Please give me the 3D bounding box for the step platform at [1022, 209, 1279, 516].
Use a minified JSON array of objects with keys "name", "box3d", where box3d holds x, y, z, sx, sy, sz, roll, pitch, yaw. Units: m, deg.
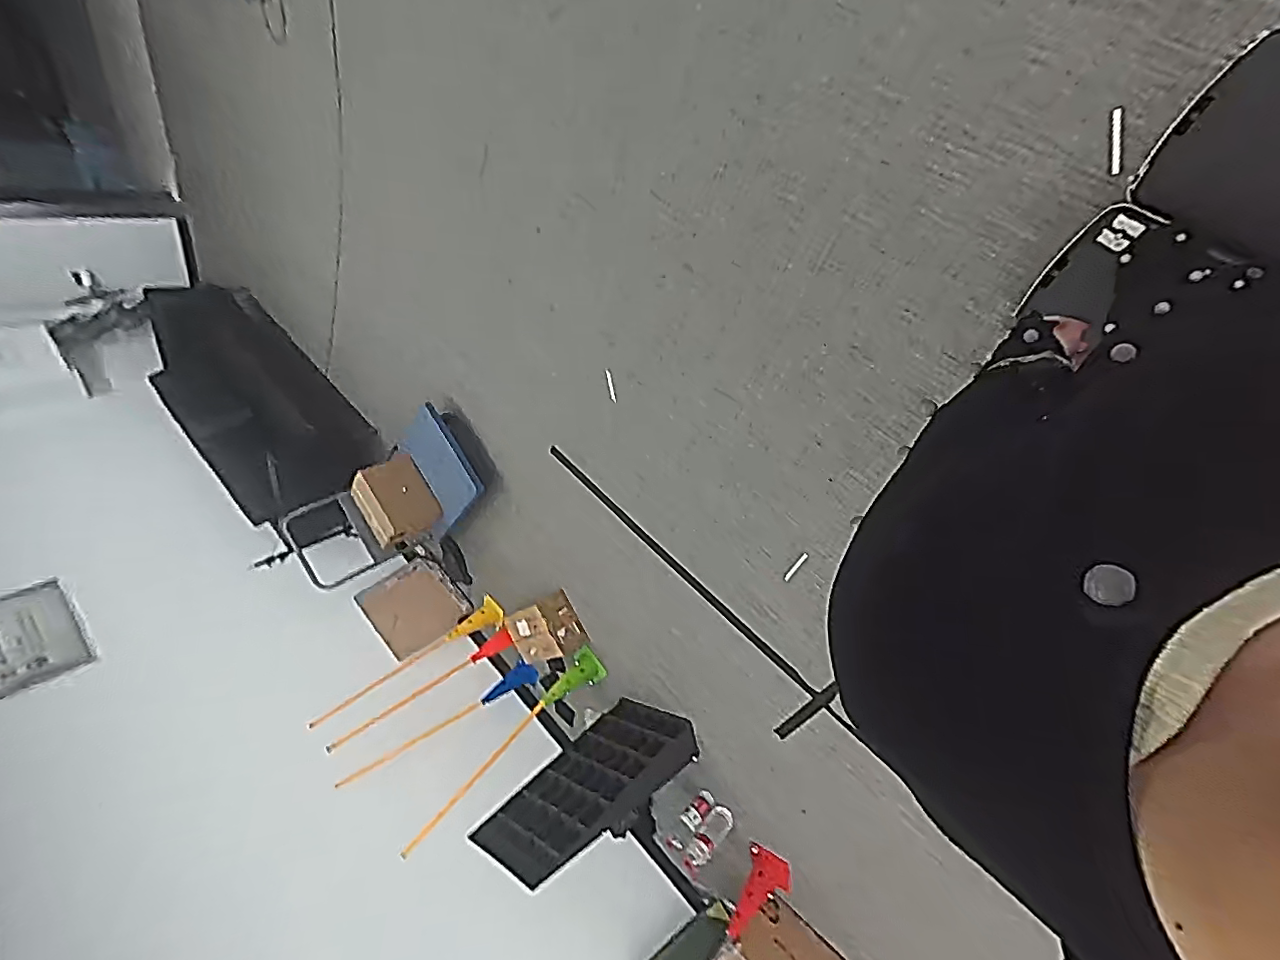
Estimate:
[{"name":"step platform","box3d":[1.101,-0.203,1.002,0.684,0.204,0.286,47,134,19]}]
